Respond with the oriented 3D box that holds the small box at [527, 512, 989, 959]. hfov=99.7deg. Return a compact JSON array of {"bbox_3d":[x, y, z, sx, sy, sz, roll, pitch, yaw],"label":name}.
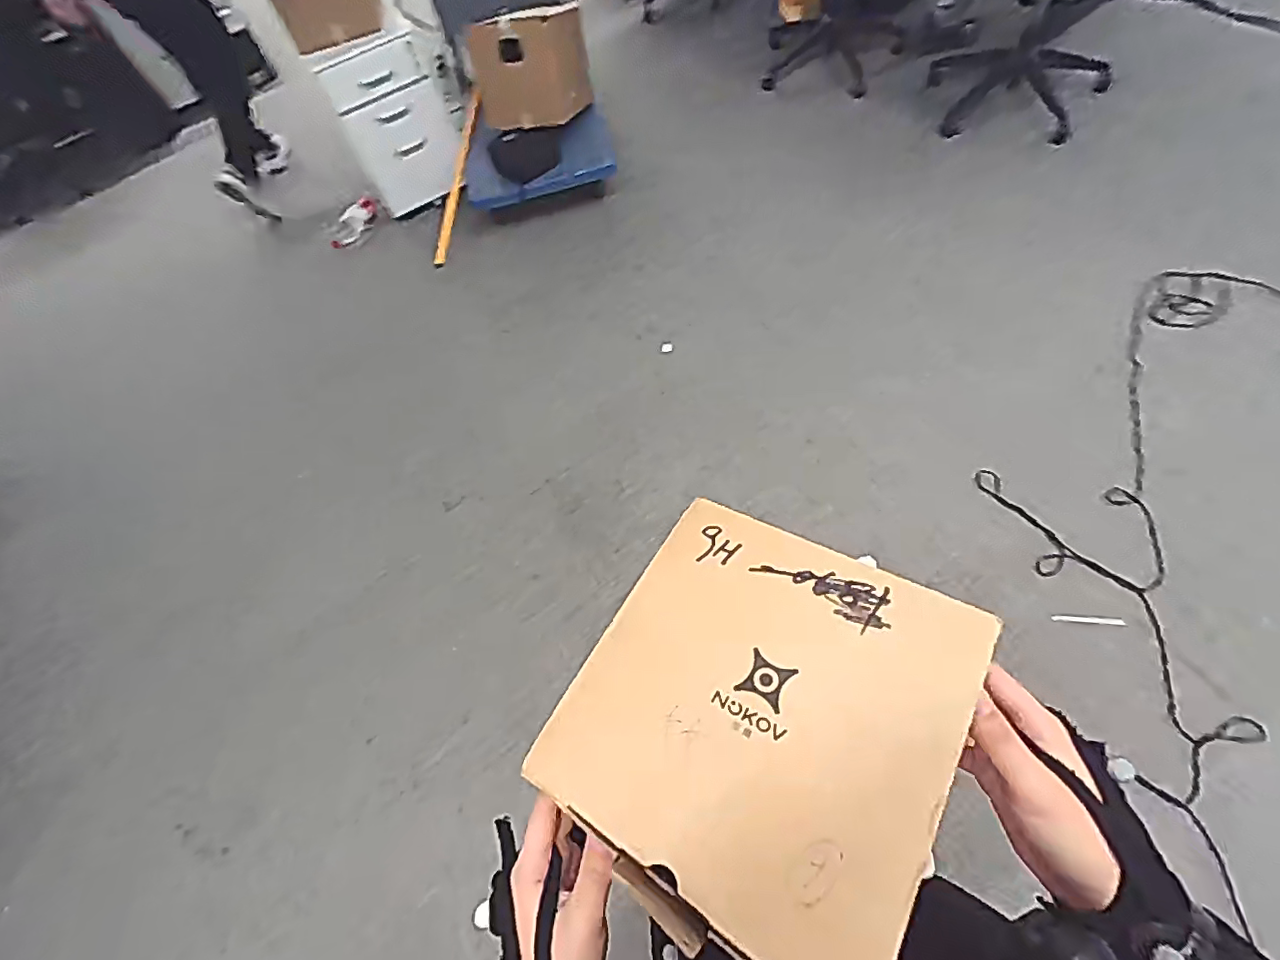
[{"bbox_3d":[0.073,0.156,0.322,0.168,0.176,0.179,23,64,29],"label":"small box"}]
